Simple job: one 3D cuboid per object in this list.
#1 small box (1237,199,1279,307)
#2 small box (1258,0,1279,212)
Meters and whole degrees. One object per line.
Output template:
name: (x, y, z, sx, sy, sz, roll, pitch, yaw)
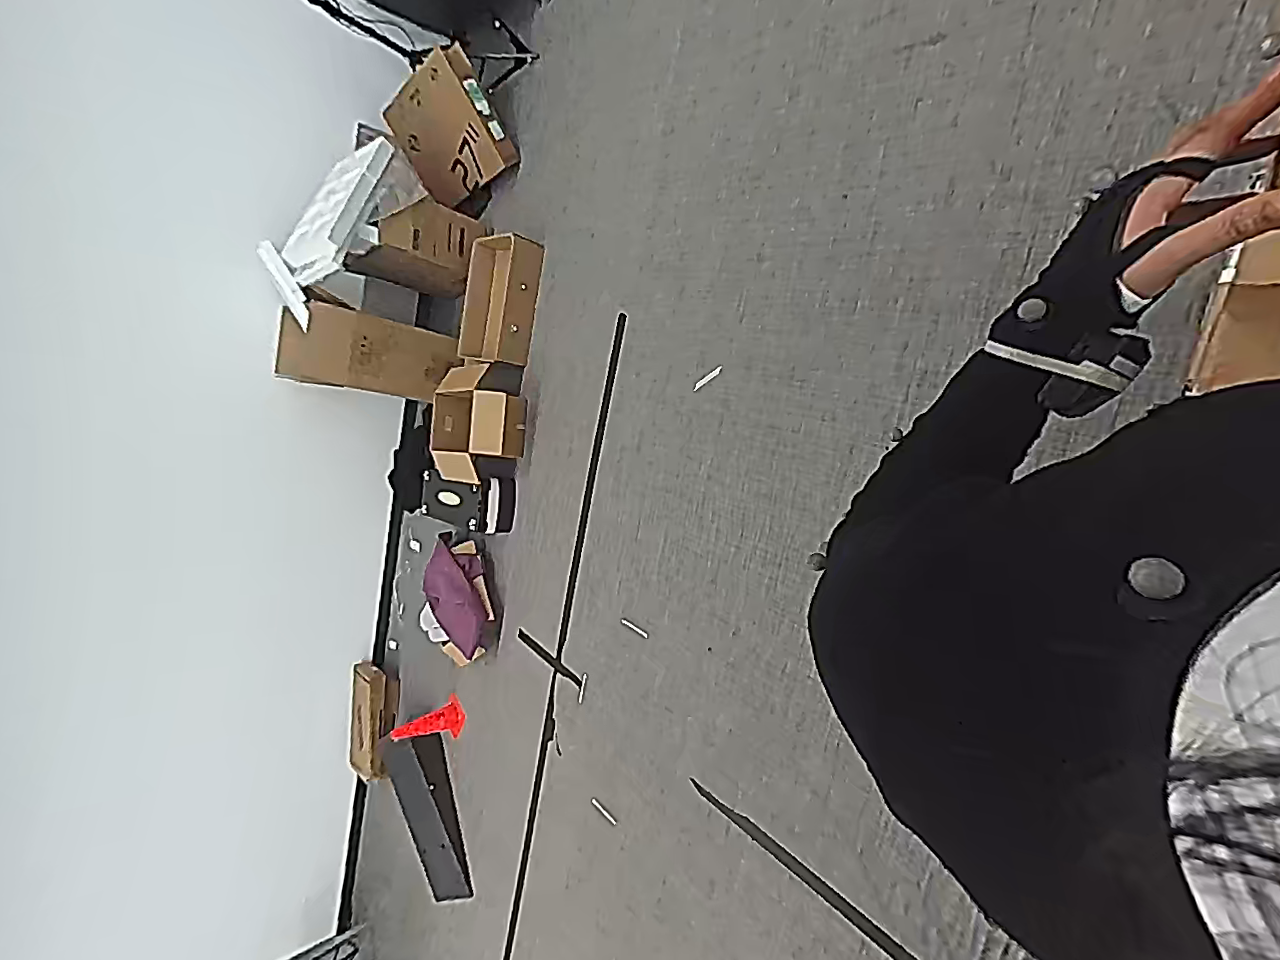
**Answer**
small box: (0.793, -0.293, 0.587, 0.168, 0.176, 0.179, 21, 105, 45)
small box: (0.442, -0.249, 0.267, 0.168, 0.176, 0.179, 6, 108, 46)
